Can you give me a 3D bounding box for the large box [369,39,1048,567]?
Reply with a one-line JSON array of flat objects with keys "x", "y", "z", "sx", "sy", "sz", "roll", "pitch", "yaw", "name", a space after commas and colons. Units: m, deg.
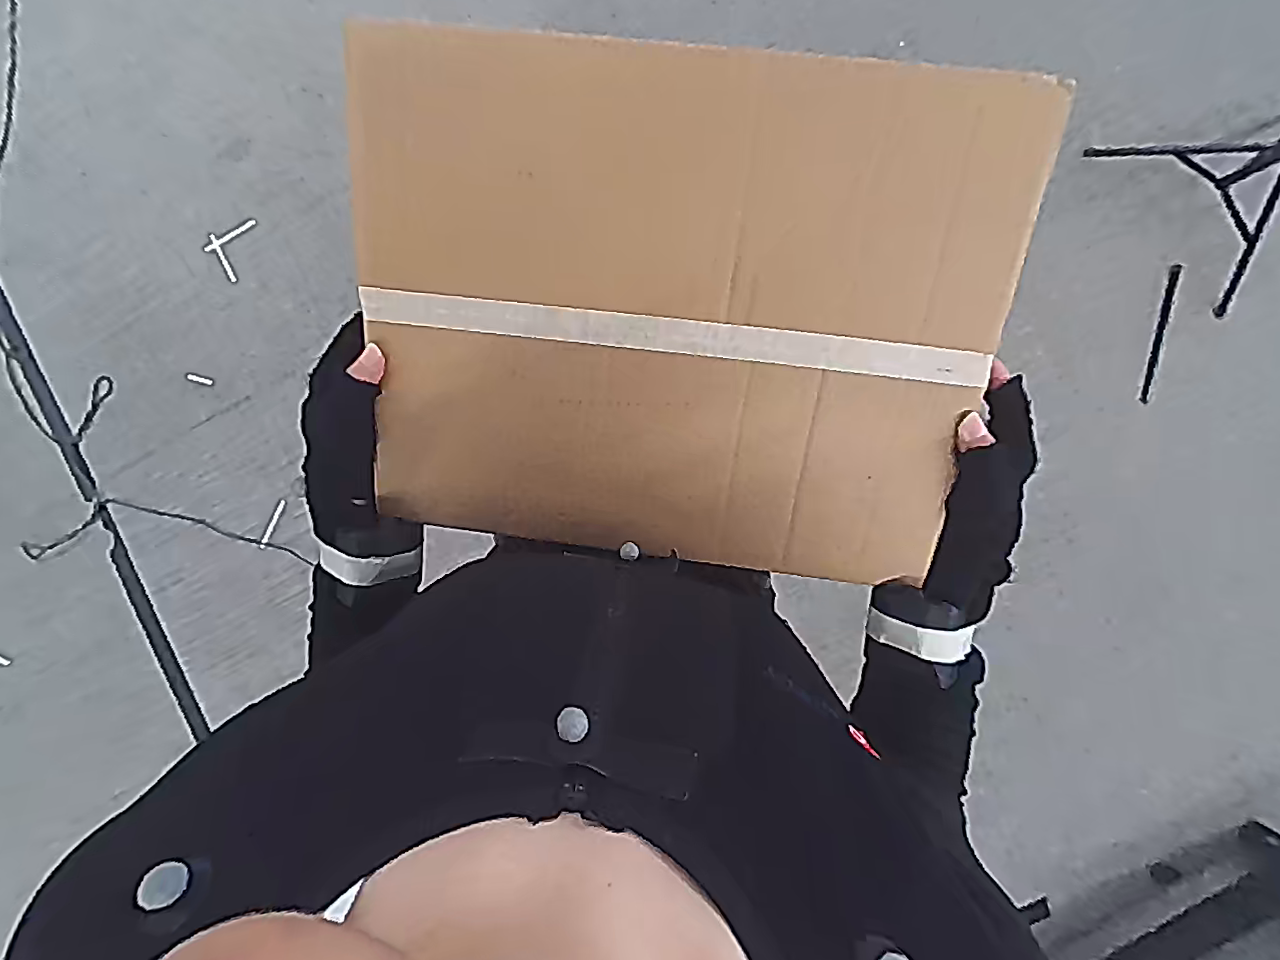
[{"x": 0.032, "y": -0.146, "z": 0.502, "sx": 0.408, "sy": 0.320, "sz": 0.320, "roll": 7, "pitch": 111, "yaw": 3, "name": "large box"}]
